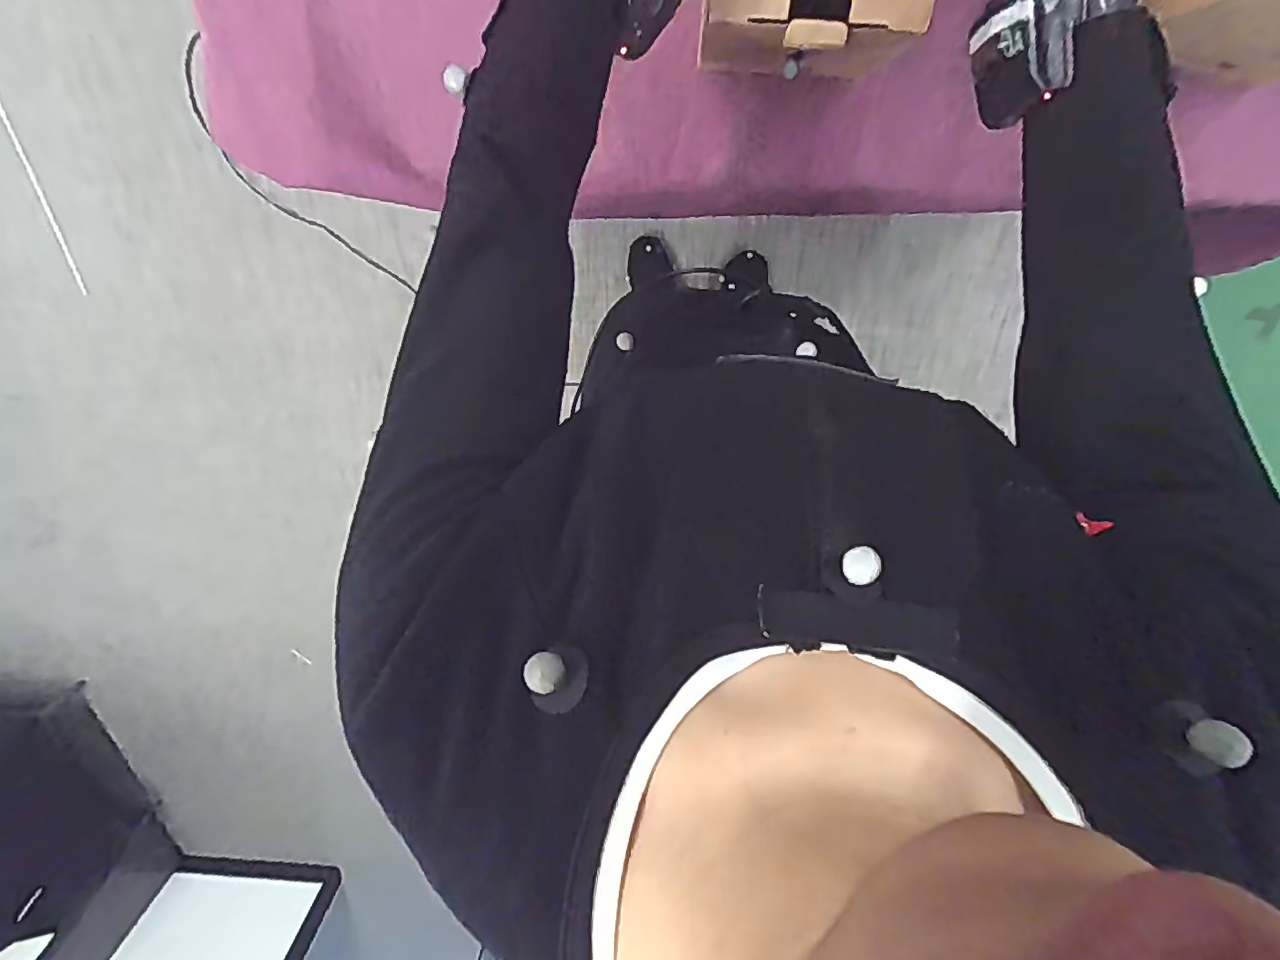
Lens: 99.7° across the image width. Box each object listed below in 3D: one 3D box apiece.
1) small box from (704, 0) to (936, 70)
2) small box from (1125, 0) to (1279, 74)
[{"bbox_3d":[0.141,-0.446,0.425,0.168,0.176,0.179,4,118,2],"label":"small box"},{"bbox_3d":[0.528,-0.433,0.401,0.168,0.176,0.179,12,117,-2],"label":"small box"}]
